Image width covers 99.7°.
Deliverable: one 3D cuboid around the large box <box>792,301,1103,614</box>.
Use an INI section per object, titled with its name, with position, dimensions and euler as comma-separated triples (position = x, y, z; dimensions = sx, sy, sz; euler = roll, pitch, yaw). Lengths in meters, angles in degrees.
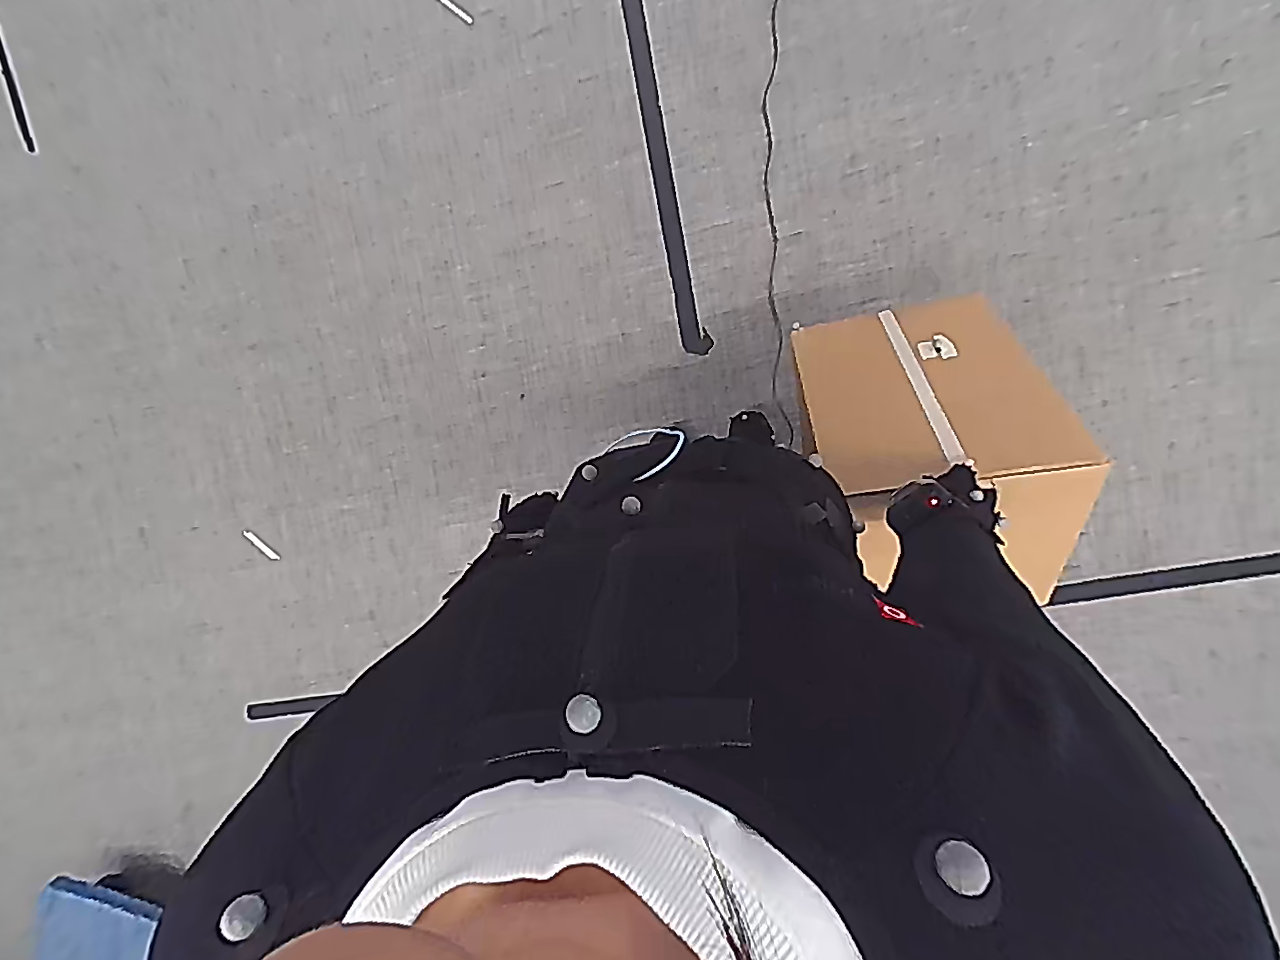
[large box]
position = 0.451, -0.037, 0.906
dimensions = 0.320, 0.408, 0.320
euler = -8, 134, 13
